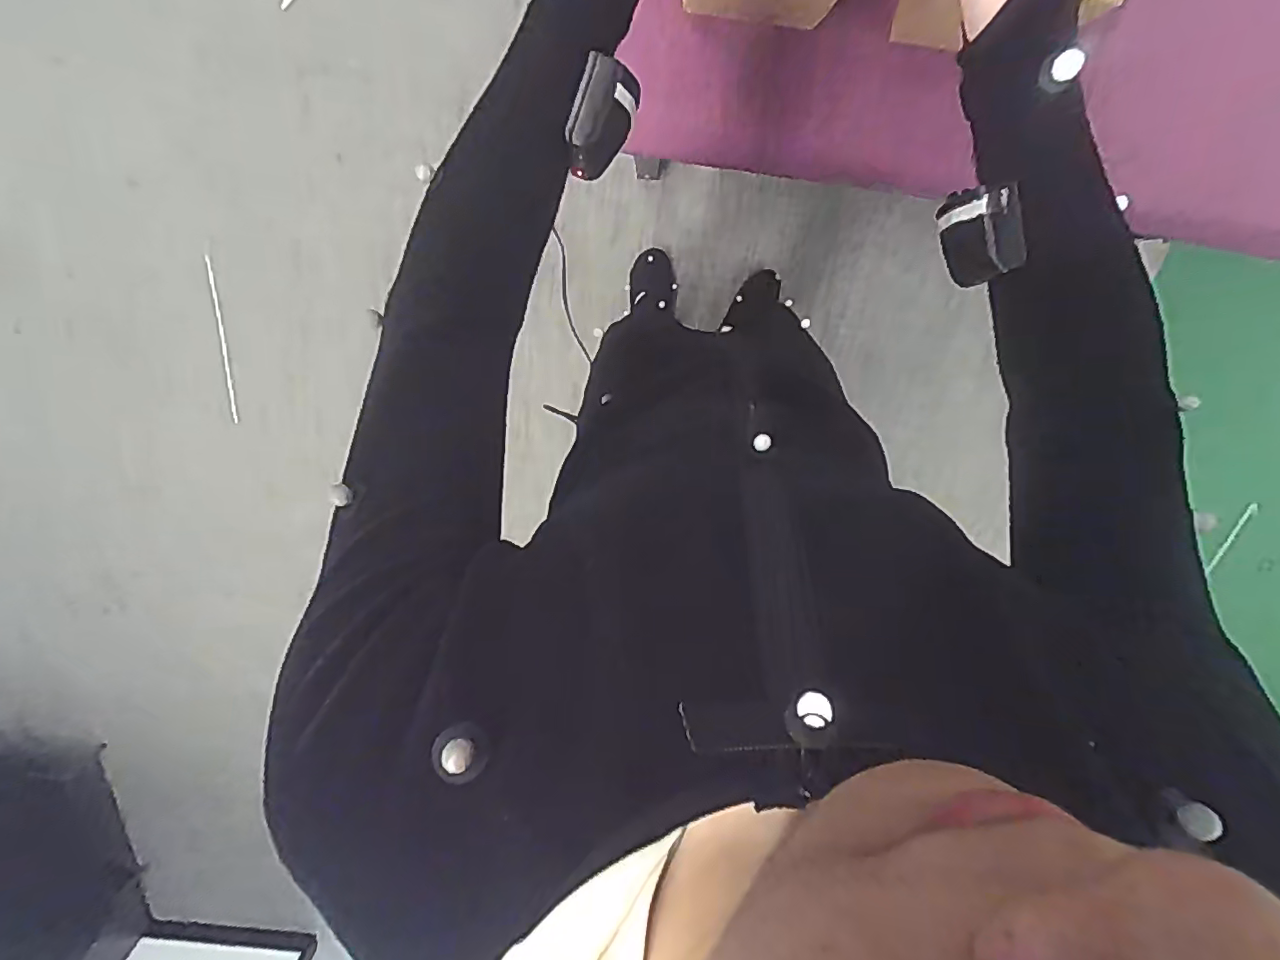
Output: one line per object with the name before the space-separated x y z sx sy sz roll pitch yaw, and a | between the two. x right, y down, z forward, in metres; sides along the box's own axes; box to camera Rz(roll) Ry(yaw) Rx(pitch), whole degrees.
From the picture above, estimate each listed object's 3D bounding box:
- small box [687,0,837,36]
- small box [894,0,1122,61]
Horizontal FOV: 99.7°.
small box | 0.140 -0.597 0.547 0.168 0.176 0.179 7 112 -1
small box | 0.390 -0.572 0.555 0.168 0.176 0.179 6 113 -2
